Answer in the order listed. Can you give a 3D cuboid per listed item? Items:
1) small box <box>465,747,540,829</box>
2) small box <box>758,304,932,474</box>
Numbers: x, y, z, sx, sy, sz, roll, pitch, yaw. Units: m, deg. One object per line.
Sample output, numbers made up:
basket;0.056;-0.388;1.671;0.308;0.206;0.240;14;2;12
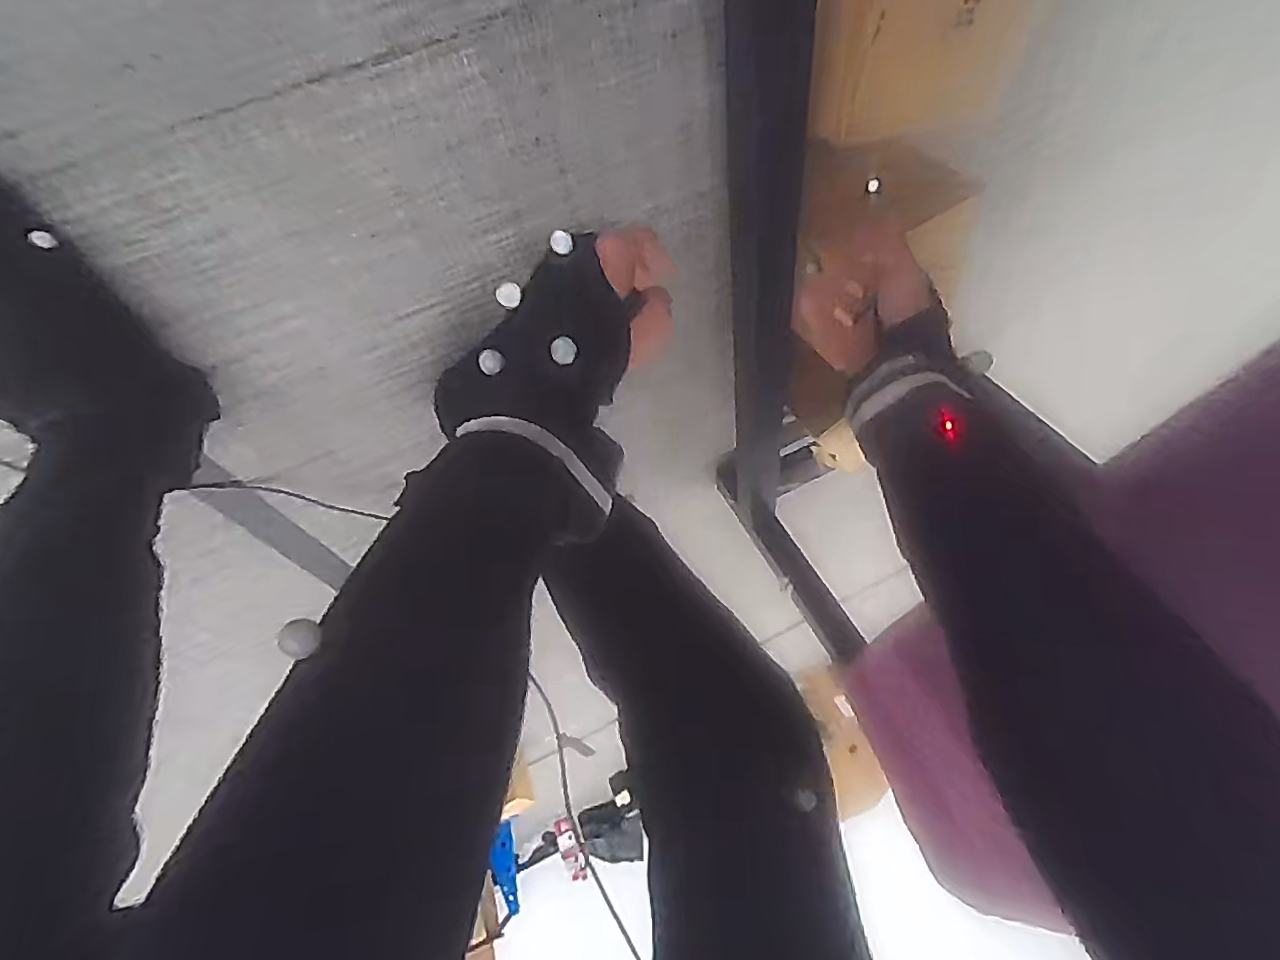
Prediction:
small box;-0.450;0.998;1.752;0.179;0.176;0.168;-26;145;-5
small box;0.324;-0.145;0.865;0.179;0.176;0.168;-42;142;17
